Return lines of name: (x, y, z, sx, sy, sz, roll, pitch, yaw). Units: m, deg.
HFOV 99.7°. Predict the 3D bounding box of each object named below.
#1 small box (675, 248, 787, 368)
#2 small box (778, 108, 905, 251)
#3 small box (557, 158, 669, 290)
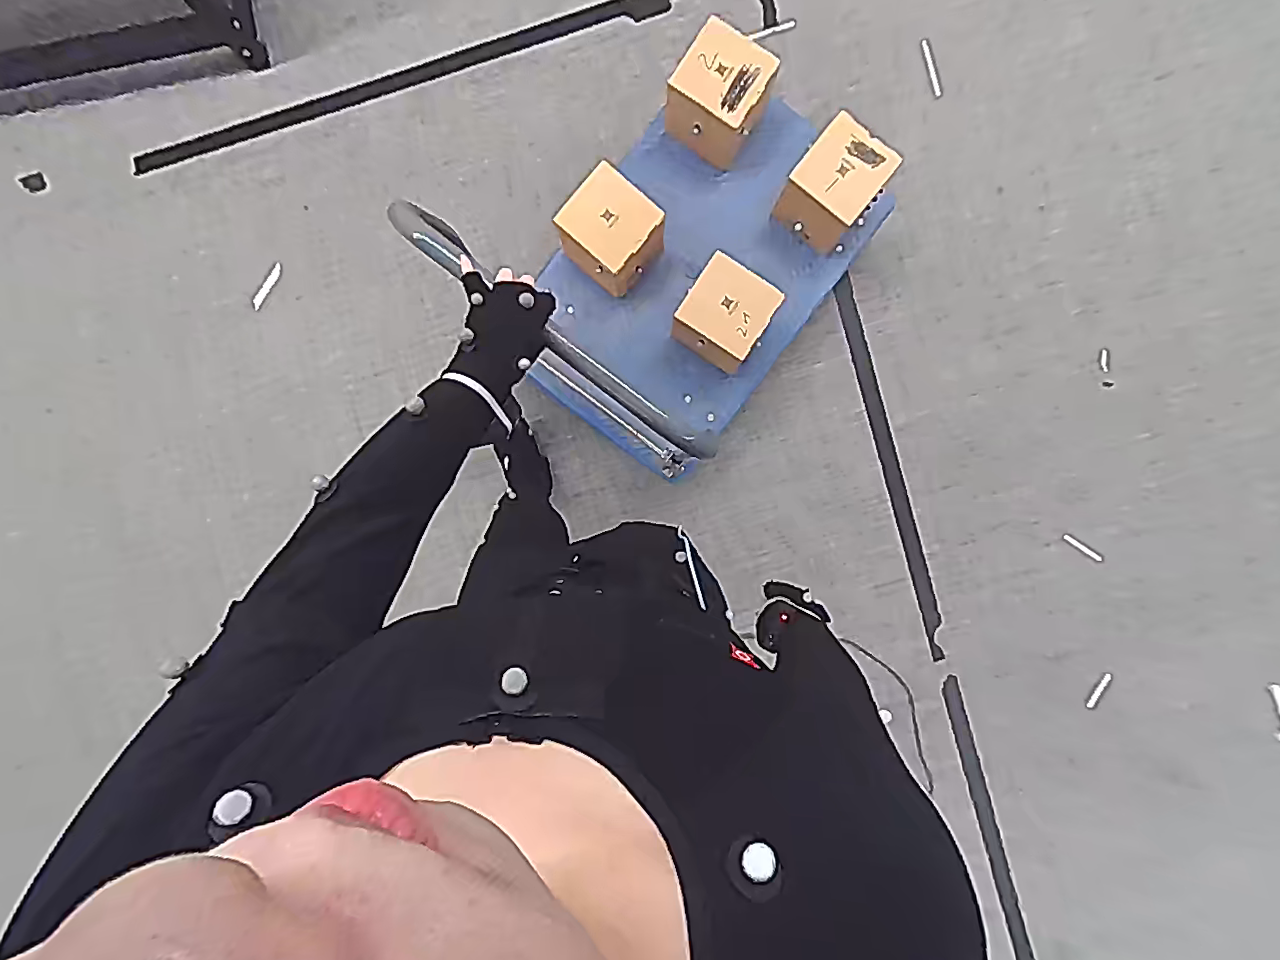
small box: (0.190, -0.368, 1.196, 0.179, 0.176, 0.168, 34, 92, 0)
small box: (0.427, -0.645, 1.183, 0.168, 0.176, 0.179, 39, 93, 0)
small box: (-0.058, -0.552, 1.195, 0.179, 0.176, 0.168, 41, 92, -2)
